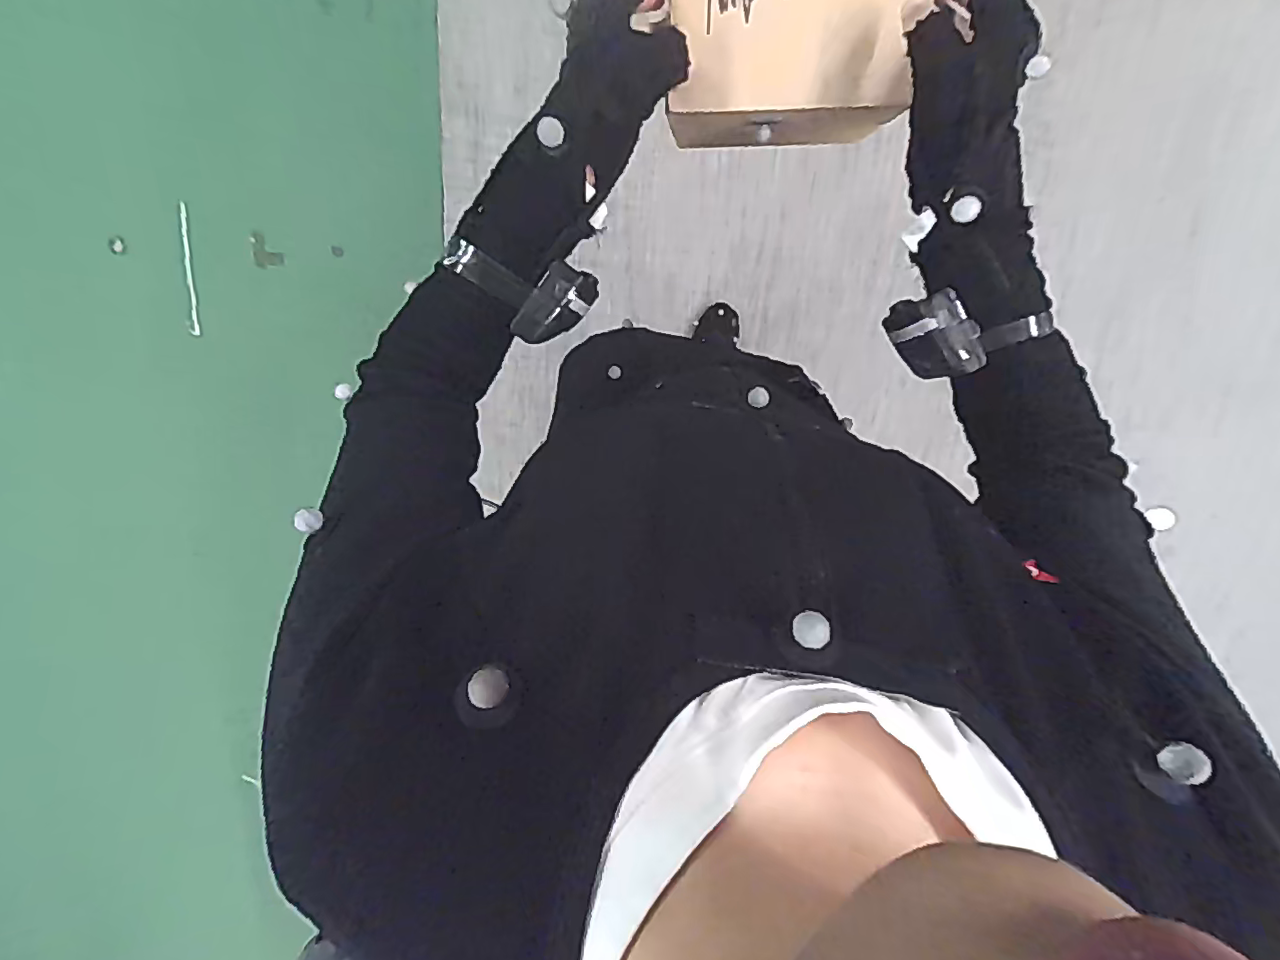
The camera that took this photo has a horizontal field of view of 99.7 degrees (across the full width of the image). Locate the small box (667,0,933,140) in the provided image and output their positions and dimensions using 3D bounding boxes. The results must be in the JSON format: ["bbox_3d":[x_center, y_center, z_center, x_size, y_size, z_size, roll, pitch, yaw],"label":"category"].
[{"bbox_3d":[0.115,-0.375,0.423,0.179,0.176,0.168,2,114,6],"label":"small box"}]
